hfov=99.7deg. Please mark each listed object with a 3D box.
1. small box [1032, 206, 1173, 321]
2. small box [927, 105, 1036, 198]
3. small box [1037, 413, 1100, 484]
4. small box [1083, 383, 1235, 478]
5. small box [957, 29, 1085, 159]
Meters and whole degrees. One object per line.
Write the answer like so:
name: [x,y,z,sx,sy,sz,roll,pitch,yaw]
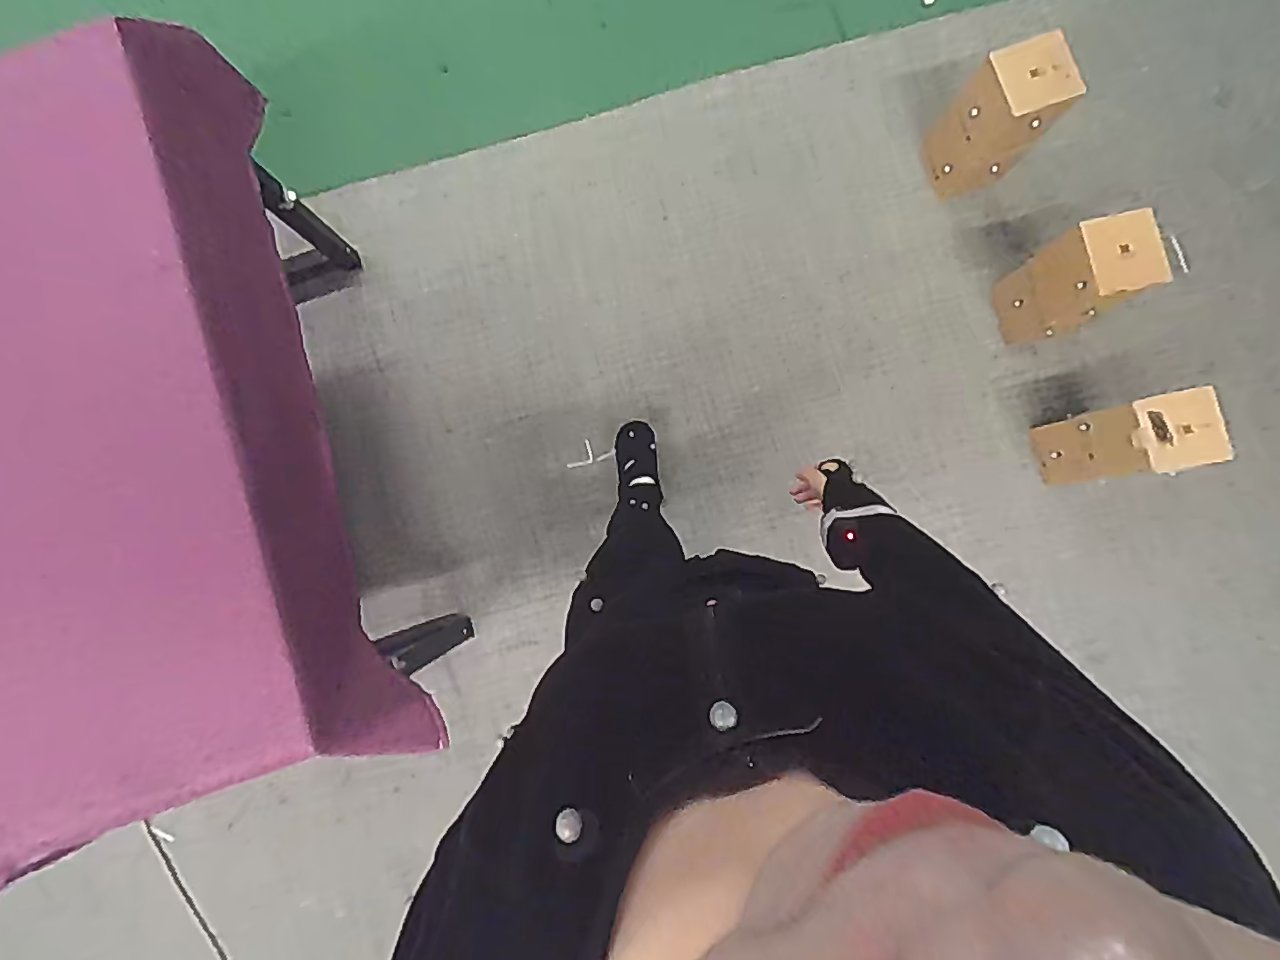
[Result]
small box: [1.066,-0.498,1.263,0.168,0.176,0.179,-12,85,1]
small box: [0.911,-0.904,1.468,0.179,0.176,0.168,-17,86,0]
small box: [1.167,-0.090,1.390,0.179,0.176,0.168,-13,85,2]
small box: [1.156,-0.104,1.225,0.179,0.176,0.168,-12,85,0]
small box: [0.901,-0.918,1.304,0.179,0.176,0.168,-18,86,1]
